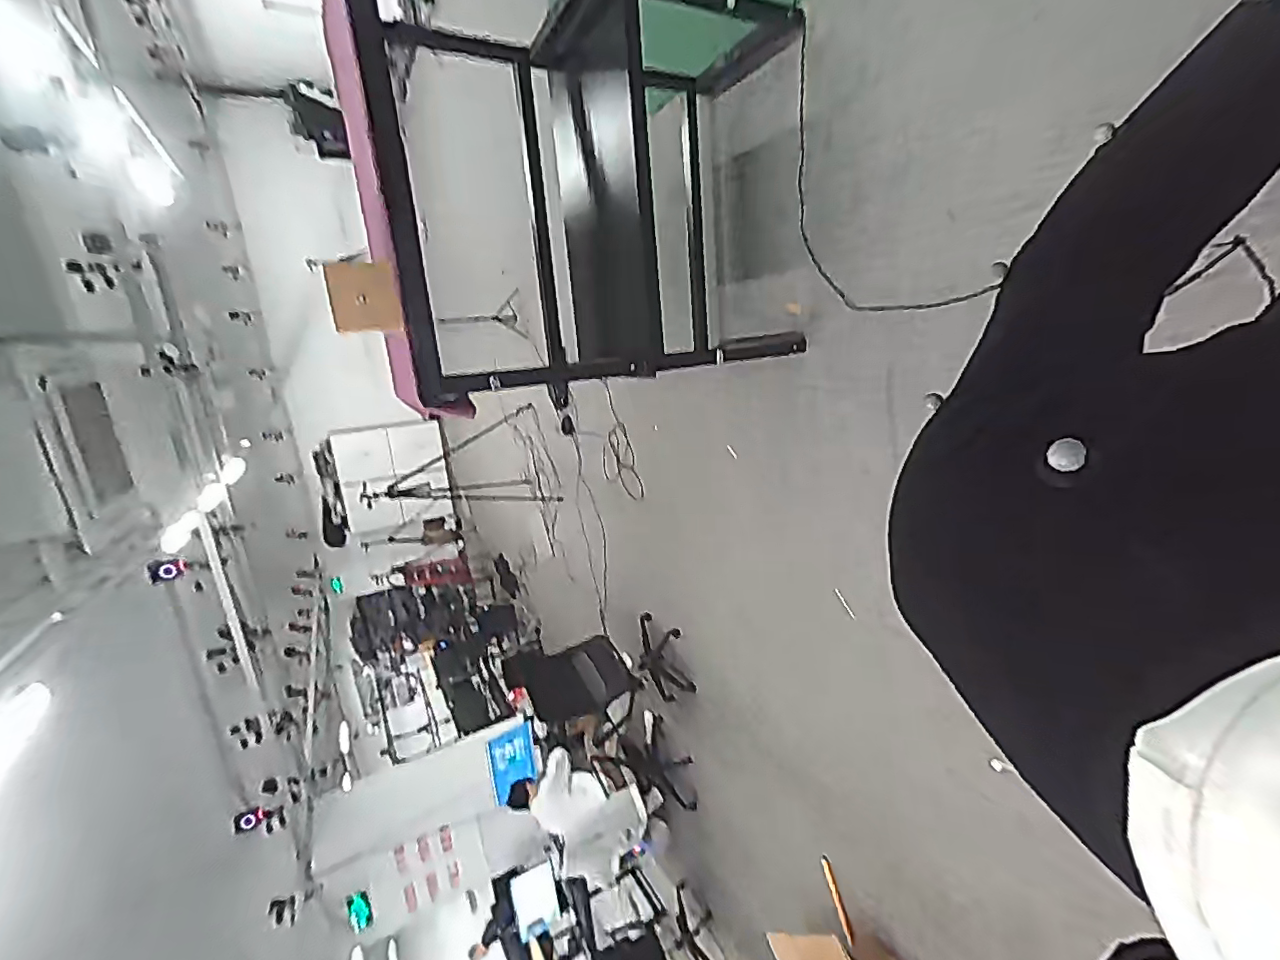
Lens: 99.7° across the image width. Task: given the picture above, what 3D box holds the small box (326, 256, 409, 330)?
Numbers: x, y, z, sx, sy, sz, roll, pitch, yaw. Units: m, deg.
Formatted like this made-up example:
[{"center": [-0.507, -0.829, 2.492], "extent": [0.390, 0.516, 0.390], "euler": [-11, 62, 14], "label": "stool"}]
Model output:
[{"center": [-0.741, -0.505, 1.471], "extent": [0.168, 0.176, 0.179], "euler": [23, 121, 59], "label": "small box"}]
